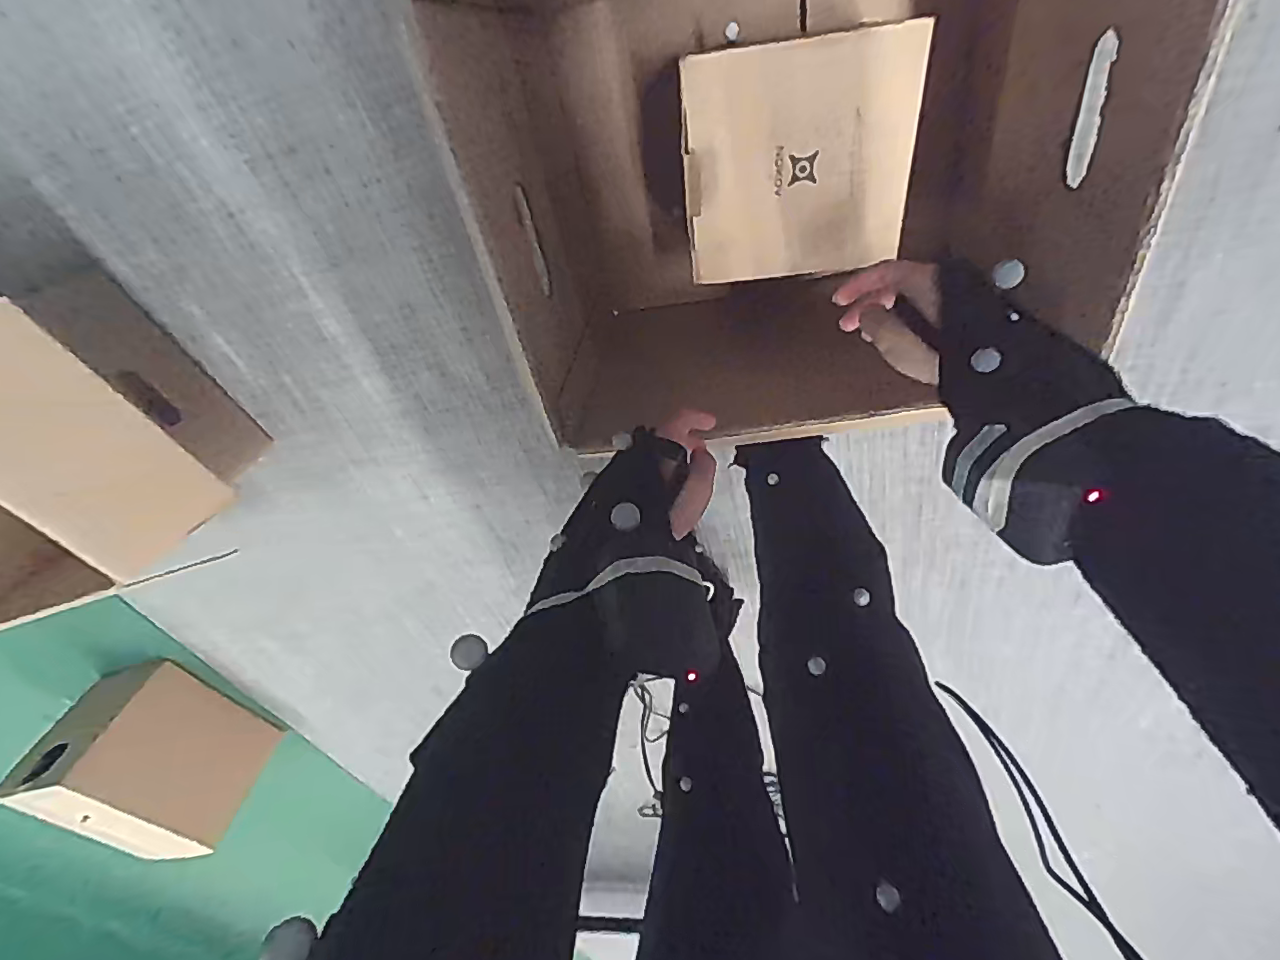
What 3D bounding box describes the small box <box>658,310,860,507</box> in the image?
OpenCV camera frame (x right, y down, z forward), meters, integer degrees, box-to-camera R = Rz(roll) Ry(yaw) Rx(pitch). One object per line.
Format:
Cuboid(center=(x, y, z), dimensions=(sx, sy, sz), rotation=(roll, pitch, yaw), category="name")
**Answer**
Cuboid(center=(0.131, -0.073, 0.656), dimensions=(0.179, 0.168, 0.176), rotation=(7, 156, -15), category="small box")
